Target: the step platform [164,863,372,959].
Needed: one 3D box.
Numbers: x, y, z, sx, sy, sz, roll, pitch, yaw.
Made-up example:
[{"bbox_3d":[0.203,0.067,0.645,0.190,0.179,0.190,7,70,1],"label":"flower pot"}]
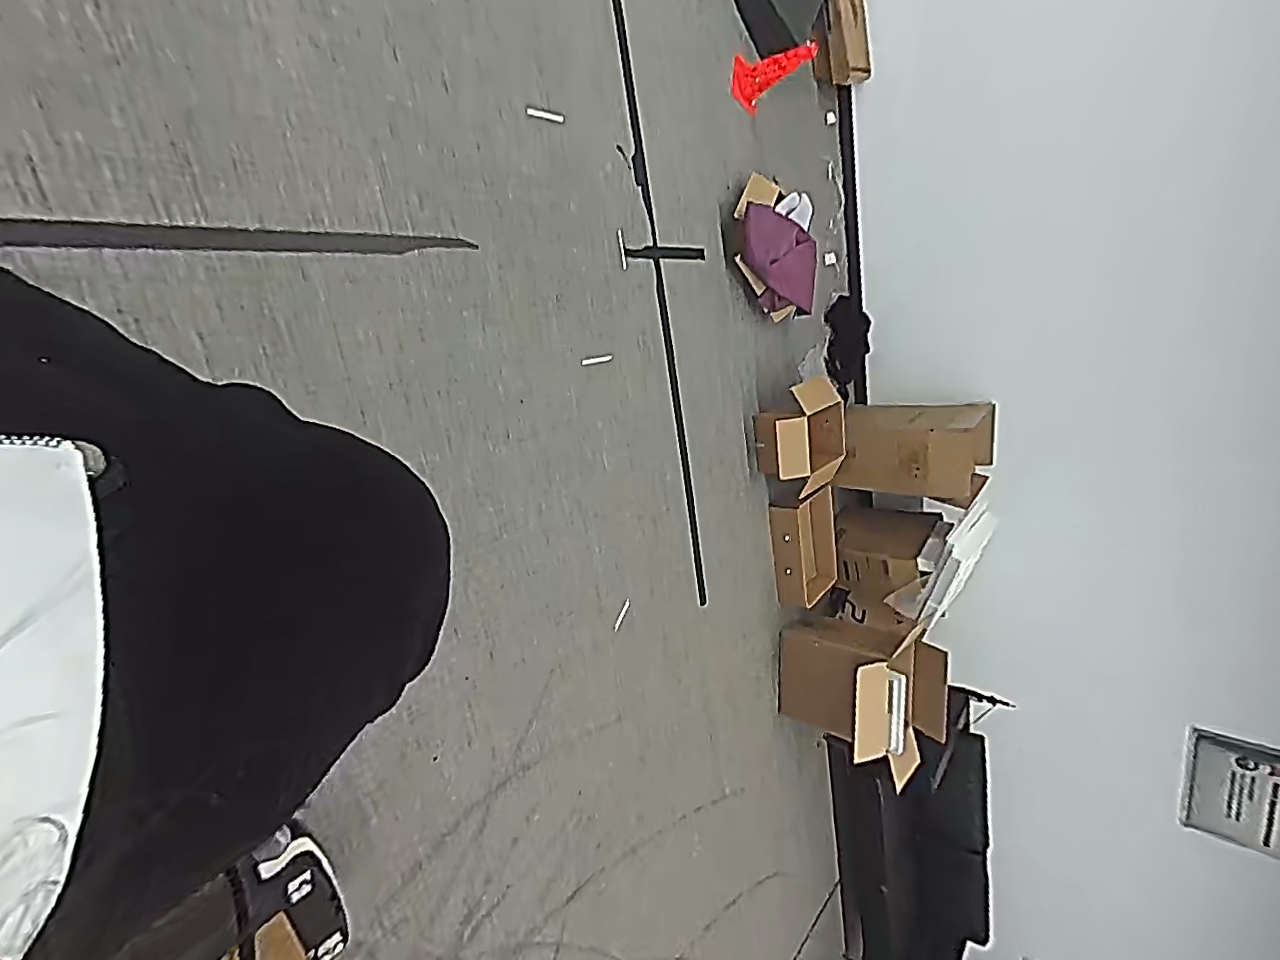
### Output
[{"bbox_3d":[-0.866,1.067,0.961,0.684,0.204,0.286,-25,112,-42],"label":"step platform"}]
